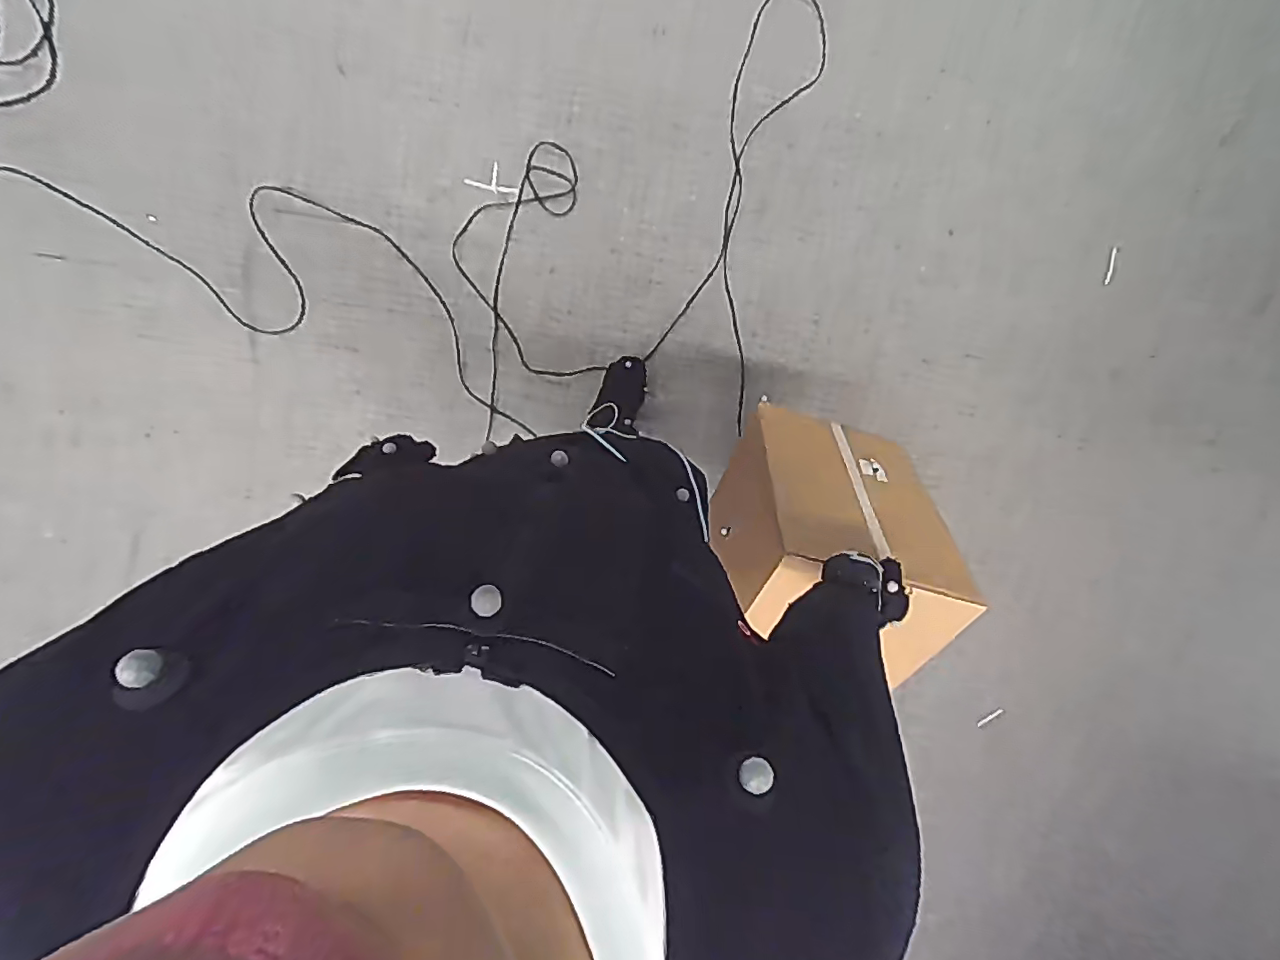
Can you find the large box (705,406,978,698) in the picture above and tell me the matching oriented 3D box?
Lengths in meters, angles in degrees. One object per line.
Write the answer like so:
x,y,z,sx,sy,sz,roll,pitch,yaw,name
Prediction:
0.317,0.126,1.006,0.320,0.408,0.320,16,128,-7,large box
